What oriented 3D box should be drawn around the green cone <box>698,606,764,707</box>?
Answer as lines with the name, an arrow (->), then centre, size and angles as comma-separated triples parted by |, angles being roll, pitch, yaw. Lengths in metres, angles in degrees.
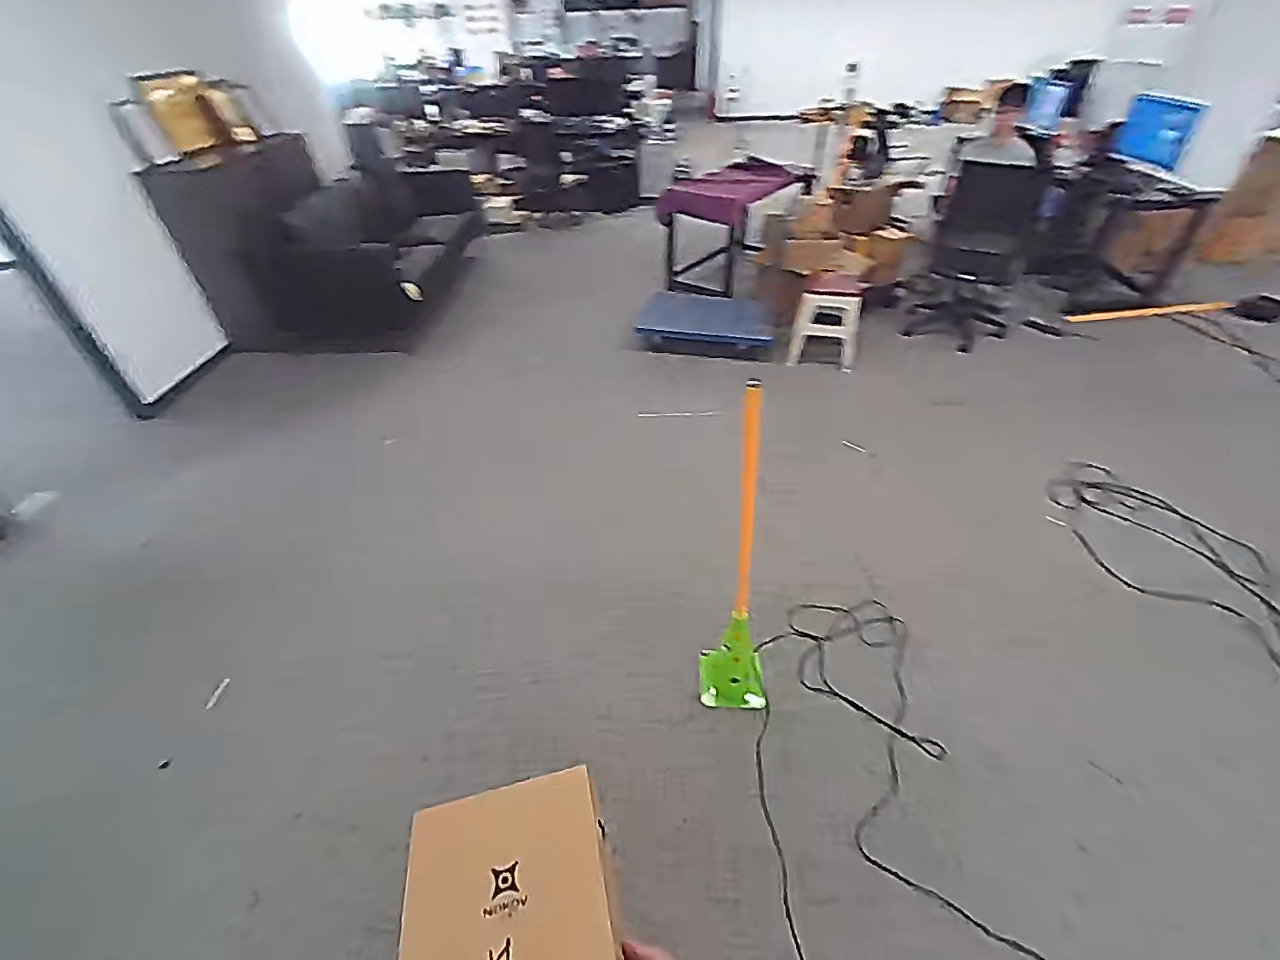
green cone -> 0.290, 0.511, 1.645 | 0.202, 0.368, 0.200 | 1, 41, 2
